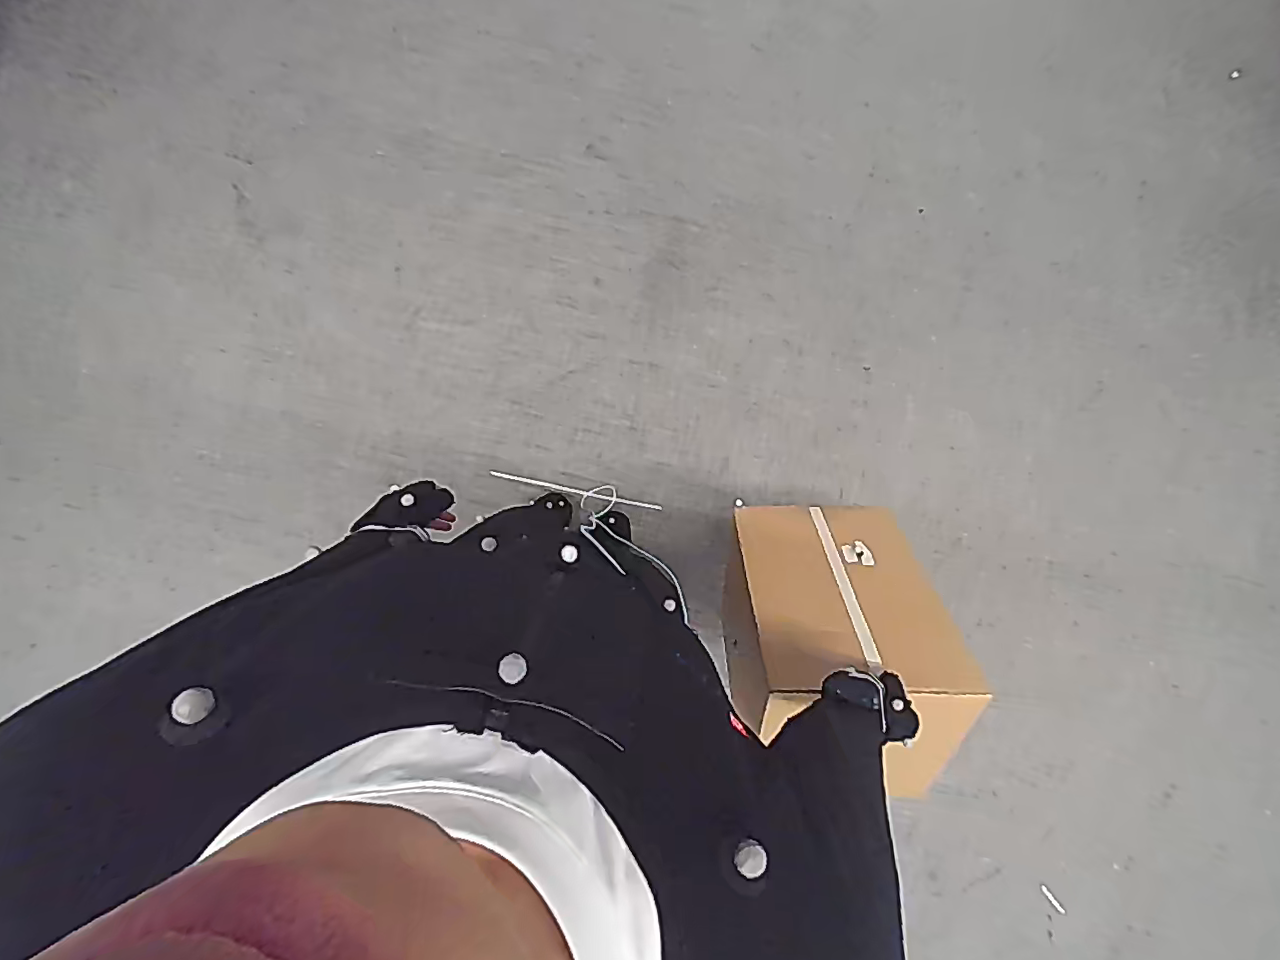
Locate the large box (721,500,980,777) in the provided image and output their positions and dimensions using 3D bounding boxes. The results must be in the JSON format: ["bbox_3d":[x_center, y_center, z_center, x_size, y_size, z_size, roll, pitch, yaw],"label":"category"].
[{"bbox_3d":[0.336,0.284,1.011,0.320,0.408,0.320,1,127,0],"label":"large box"}]
